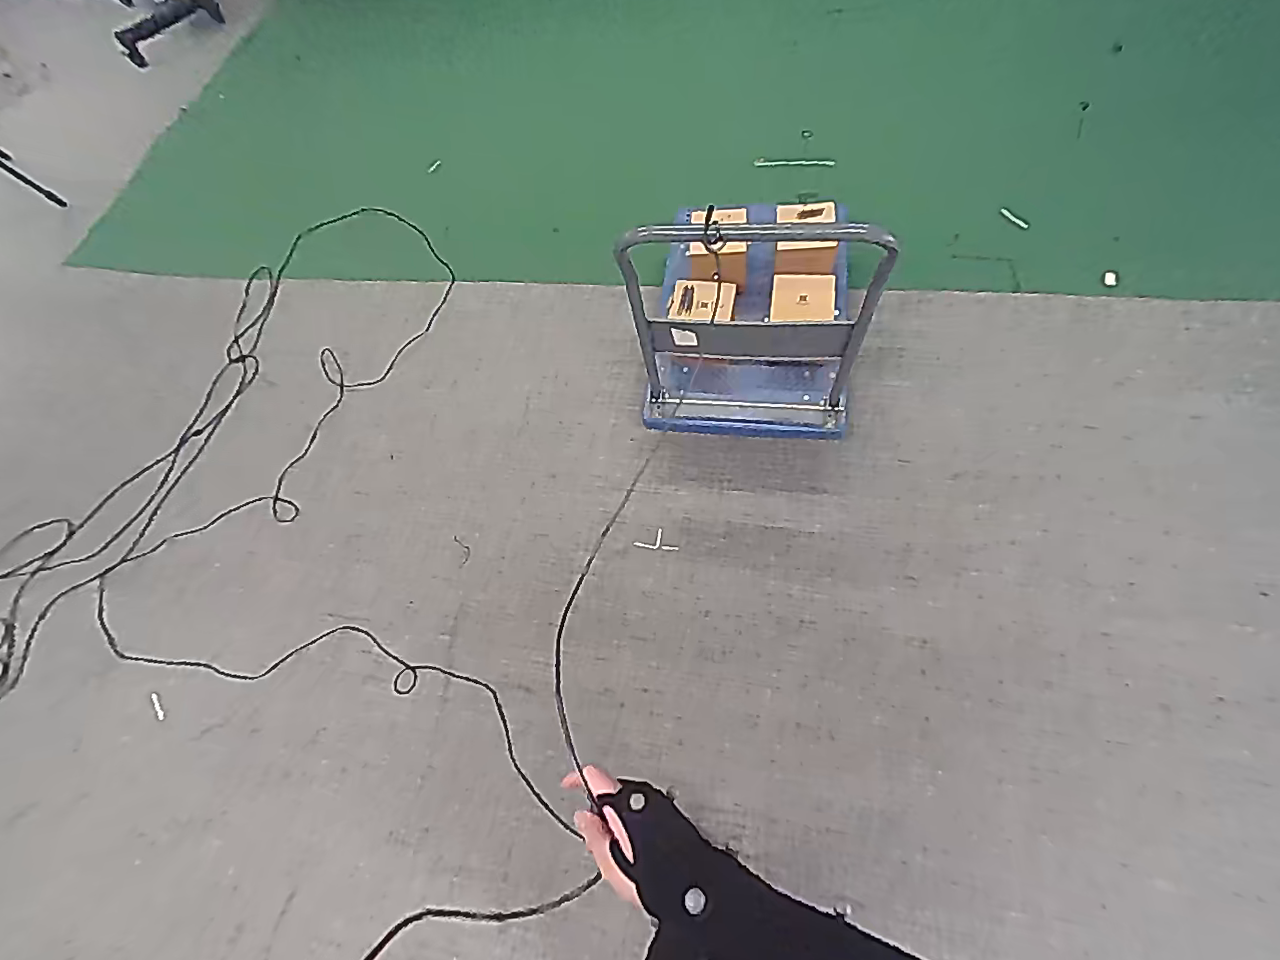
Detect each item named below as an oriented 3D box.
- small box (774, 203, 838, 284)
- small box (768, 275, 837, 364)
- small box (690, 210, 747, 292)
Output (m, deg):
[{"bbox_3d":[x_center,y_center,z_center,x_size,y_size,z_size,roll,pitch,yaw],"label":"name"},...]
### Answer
[{"bbox_3d":[0.493,-0.698,1.627,0.168,0.176,0.179,1,67,11],"label":"small box"},{"bbox_3d":[0.453,-0.452,1.524,0.168,0.176,0.179,5,68,12],"label":"small box"},{"bbox_3d":[0.245,-0.700,1.671,0.168,0.176,0.179,1,66,9],"label":"small box"}]
